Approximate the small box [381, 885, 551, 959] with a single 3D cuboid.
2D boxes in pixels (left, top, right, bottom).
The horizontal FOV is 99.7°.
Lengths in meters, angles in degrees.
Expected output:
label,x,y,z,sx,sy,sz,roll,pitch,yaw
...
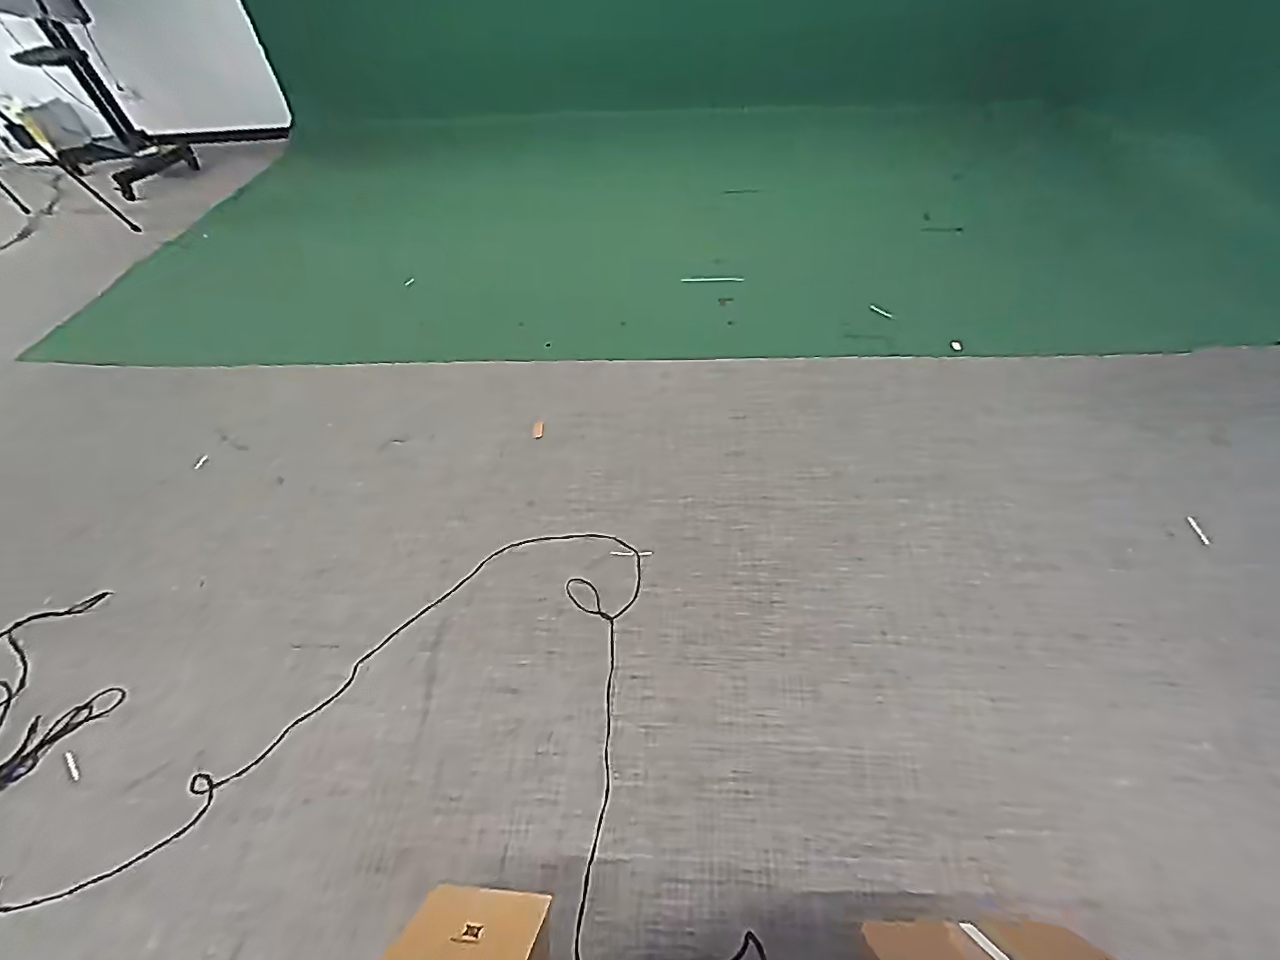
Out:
label,x,y,z,sx,sy,sz,roll,pitch,yaw
small box,-0.215,0.643,0.659,0.168,0.179,0.176,1,83,5
